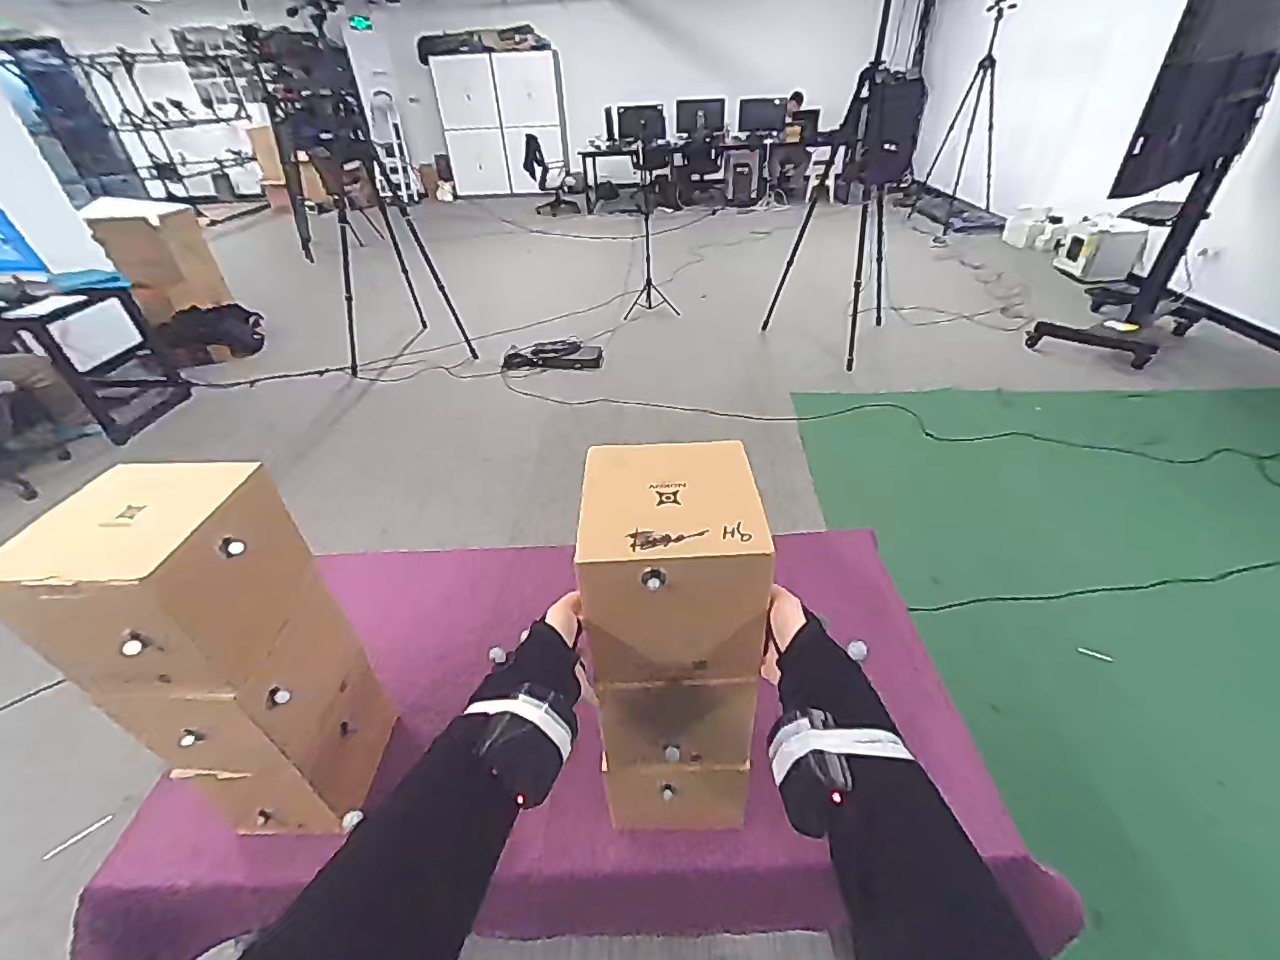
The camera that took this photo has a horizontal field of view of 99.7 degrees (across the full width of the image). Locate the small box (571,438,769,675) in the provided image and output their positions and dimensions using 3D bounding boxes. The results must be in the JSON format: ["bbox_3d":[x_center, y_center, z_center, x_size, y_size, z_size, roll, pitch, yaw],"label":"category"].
[{"bbox_3d":[0.029,0.074,0.555,0.168,0.176,0.179,-4,35,2],"label":"small box"}]

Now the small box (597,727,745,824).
[{"bbox_3d":[0.044,0.348,0.738,0.179,0.176,0.168,-2,37,3],"label":"small box"}]

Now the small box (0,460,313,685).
[{"bbox_3d":[-0.489,0.097,0.572,0.168,0.176,0.179,0,36,3],"label":"small box"}]

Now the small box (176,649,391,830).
[{"bbox_3d":[-0.478,0.362,0.764,0.168,0.176,0.179,-1,37,2],"label":"small box"}]

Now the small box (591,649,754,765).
[{"bbox_3d":[0.035,0.211,0.647,0.168,0.176,0.179,-4,37,1],"label":"small box"}]
